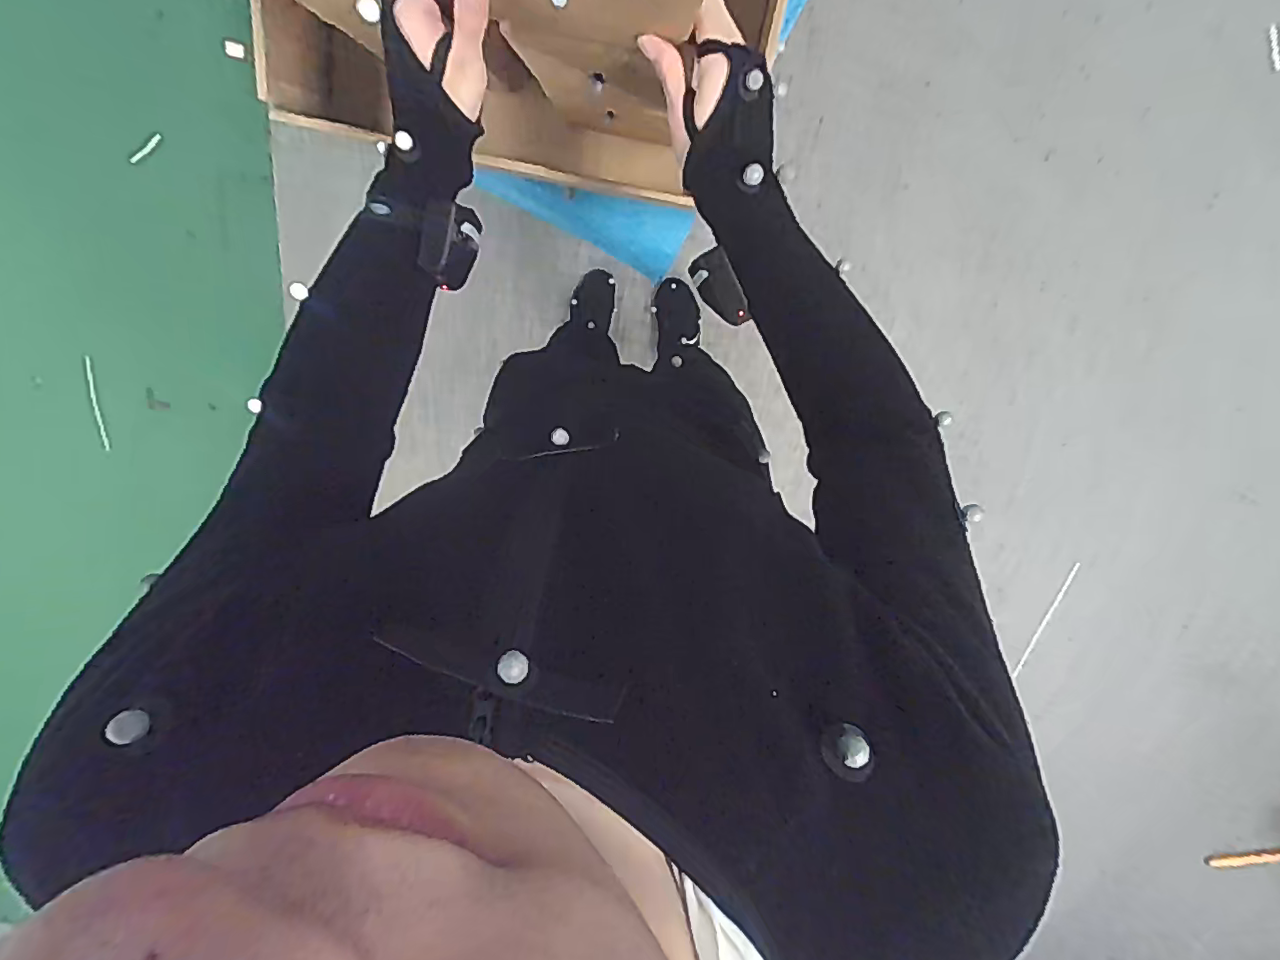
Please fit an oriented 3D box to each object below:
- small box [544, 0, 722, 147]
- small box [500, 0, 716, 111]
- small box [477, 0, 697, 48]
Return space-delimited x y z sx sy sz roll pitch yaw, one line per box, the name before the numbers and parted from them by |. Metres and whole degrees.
small box | -0.002 -0.532 0.664 0.179 0.176 0.168 13 112 0
small box | -0.015 -0.475 0.510 0.179 0.176 0.168 12 111 1
small box | -0.033 -0.399 0.331 0.179 0.176 0.168 7 116 -6
